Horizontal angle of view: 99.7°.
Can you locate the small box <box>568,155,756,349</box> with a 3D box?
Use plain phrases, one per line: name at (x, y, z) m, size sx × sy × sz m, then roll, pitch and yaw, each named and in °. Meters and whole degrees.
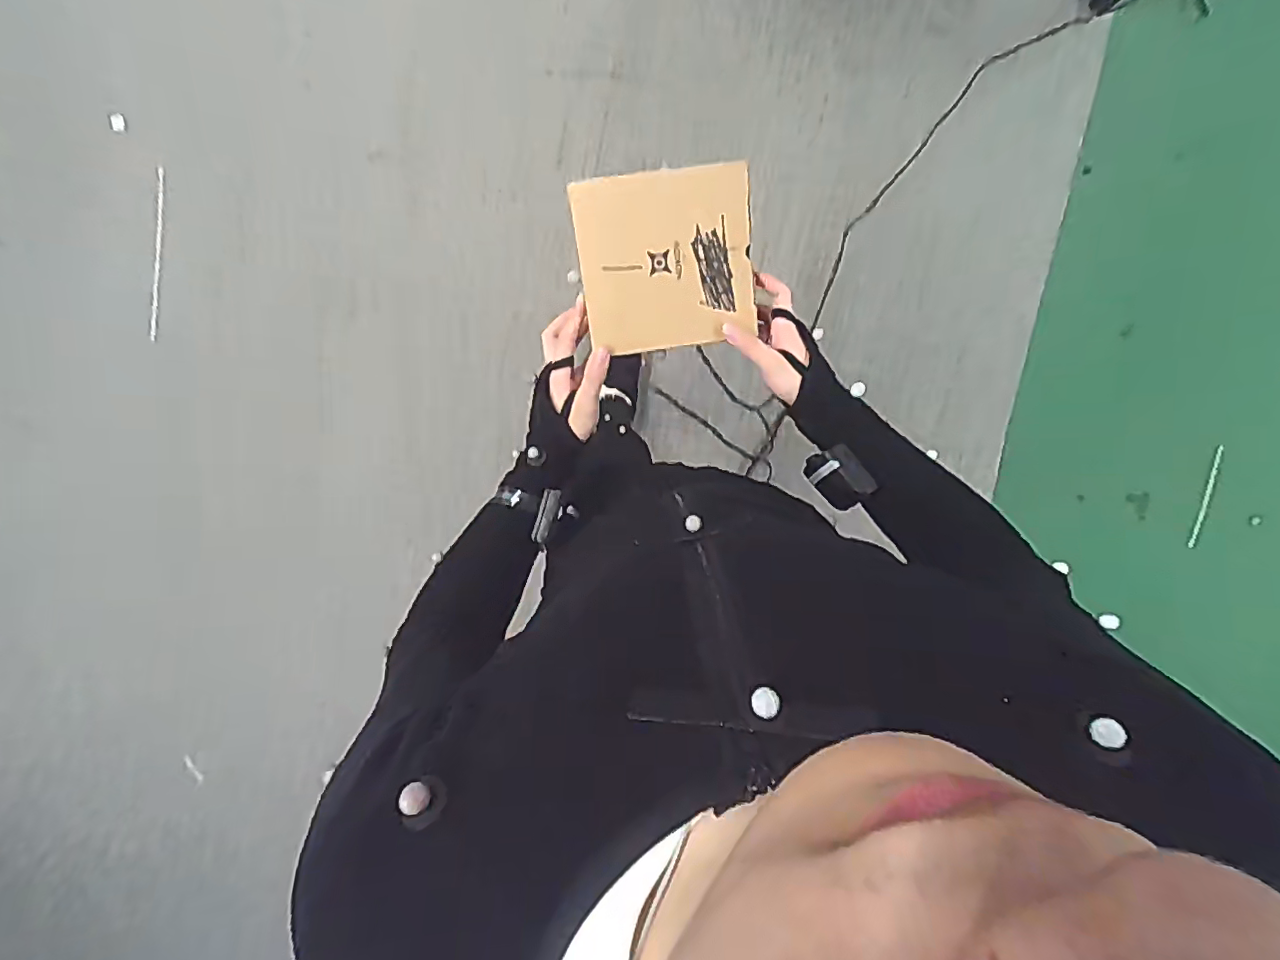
small box at (0.019, -0.244, 0.608) m, size 0.179 × 0.176 × 0.168 m, roll -8°, pitch 106°, yaw -2°
